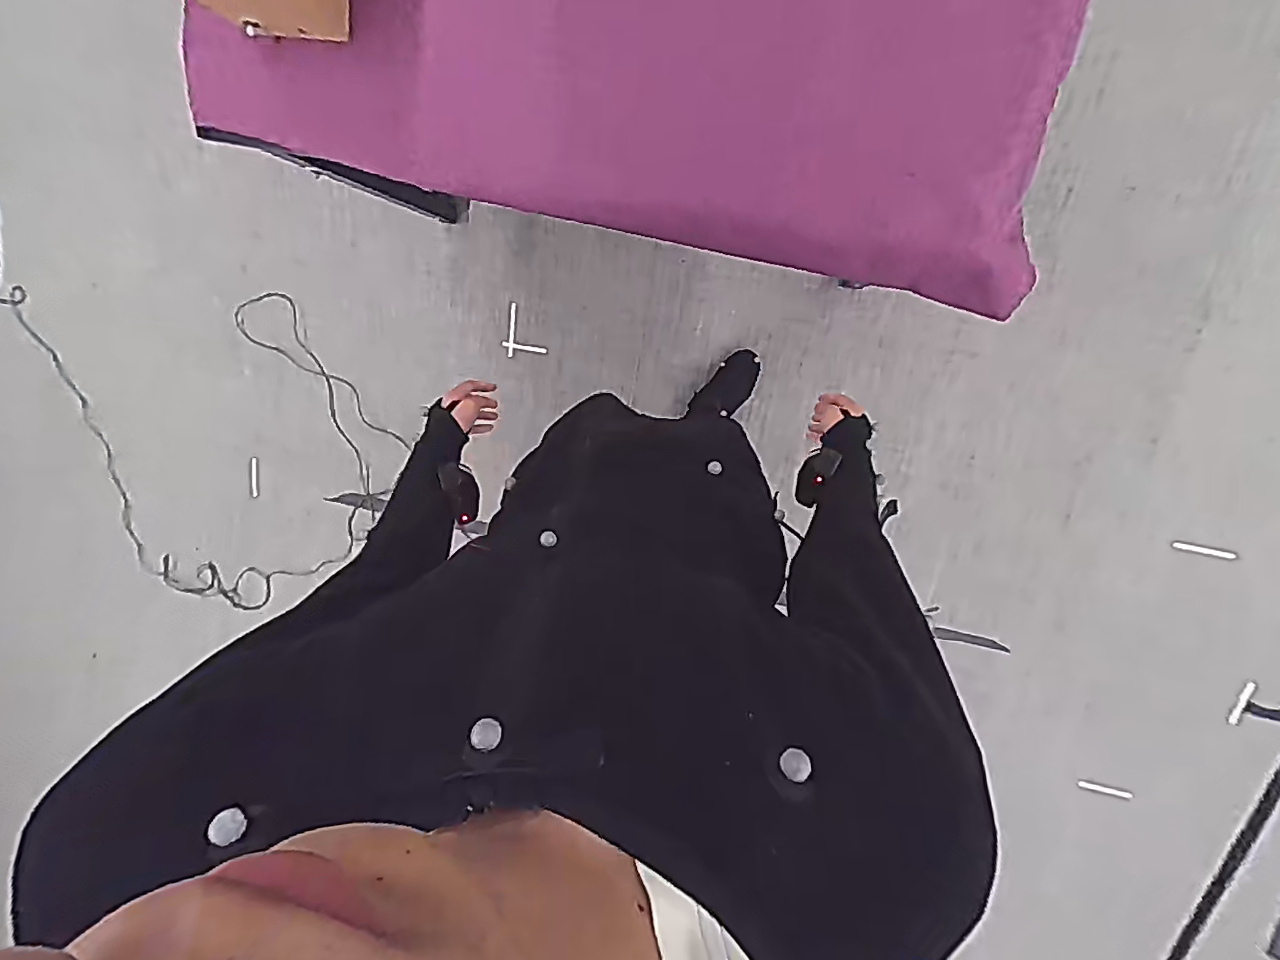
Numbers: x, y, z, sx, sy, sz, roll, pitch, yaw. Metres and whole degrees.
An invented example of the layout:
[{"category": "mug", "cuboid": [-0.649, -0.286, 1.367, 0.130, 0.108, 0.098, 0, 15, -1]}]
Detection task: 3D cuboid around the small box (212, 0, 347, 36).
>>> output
[{"category": "small box", "cuboid": [-0.500, -0.713, 0.690, 0.168, 0.176, 0.179, 10, 104, 6]}]
